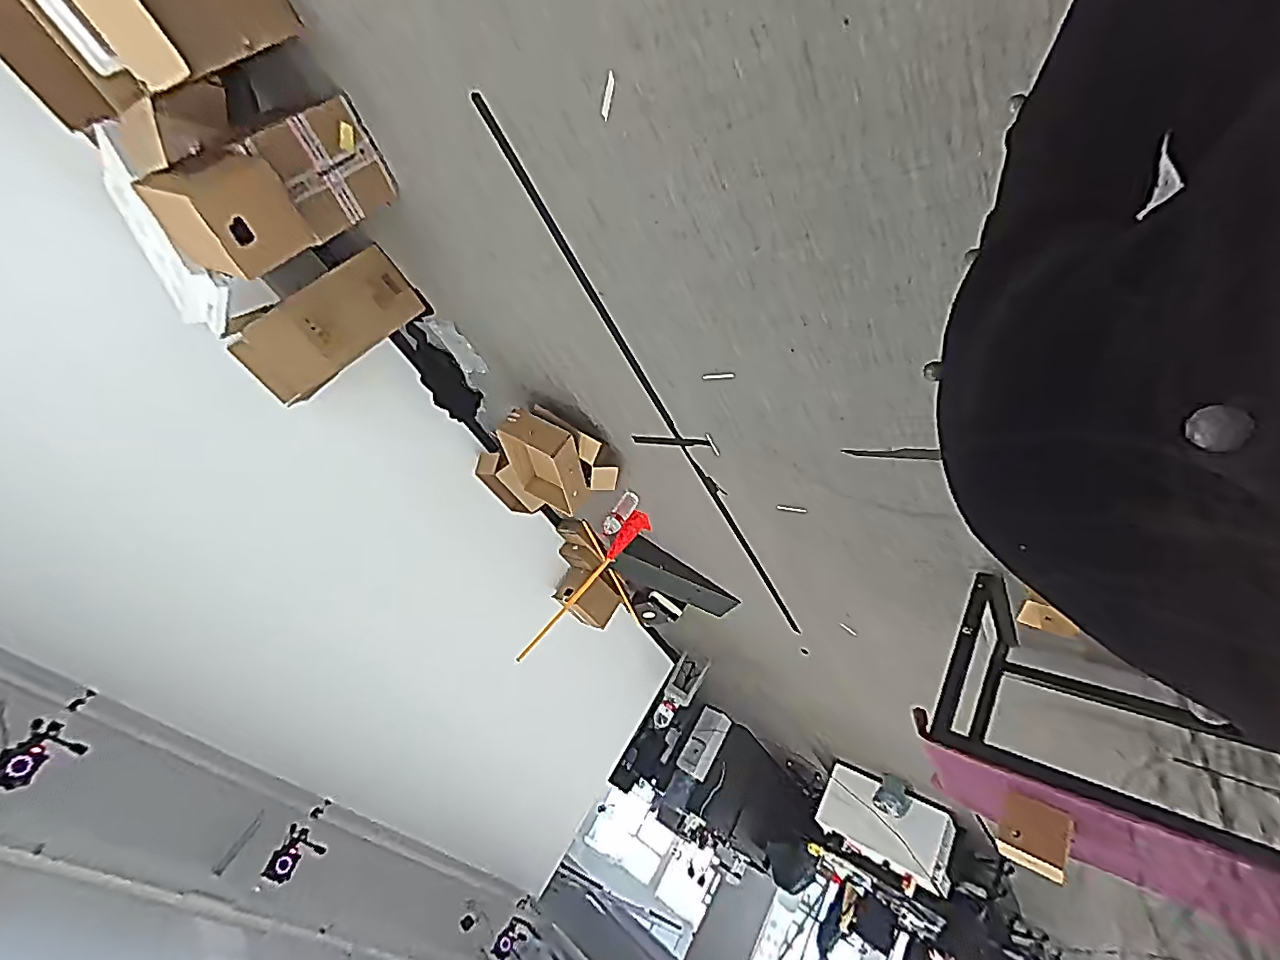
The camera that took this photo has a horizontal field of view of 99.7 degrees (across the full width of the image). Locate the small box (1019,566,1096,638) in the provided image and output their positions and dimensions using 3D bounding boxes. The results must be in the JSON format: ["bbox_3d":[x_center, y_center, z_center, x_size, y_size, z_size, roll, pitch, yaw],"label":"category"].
[{"bbox_3d":[1.509,0.434,1.956,0.179,0.176,0.168,18,147,31],"label":"small box"}]

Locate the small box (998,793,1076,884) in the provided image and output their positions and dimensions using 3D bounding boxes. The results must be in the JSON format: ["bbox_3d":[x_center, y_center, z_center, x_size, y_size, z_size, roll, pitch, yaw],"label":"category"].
[{"bbox_3d":[1.275,1.138,1.735,0.179,0.176,0.168,7,143,43],"label":"small box"}]
